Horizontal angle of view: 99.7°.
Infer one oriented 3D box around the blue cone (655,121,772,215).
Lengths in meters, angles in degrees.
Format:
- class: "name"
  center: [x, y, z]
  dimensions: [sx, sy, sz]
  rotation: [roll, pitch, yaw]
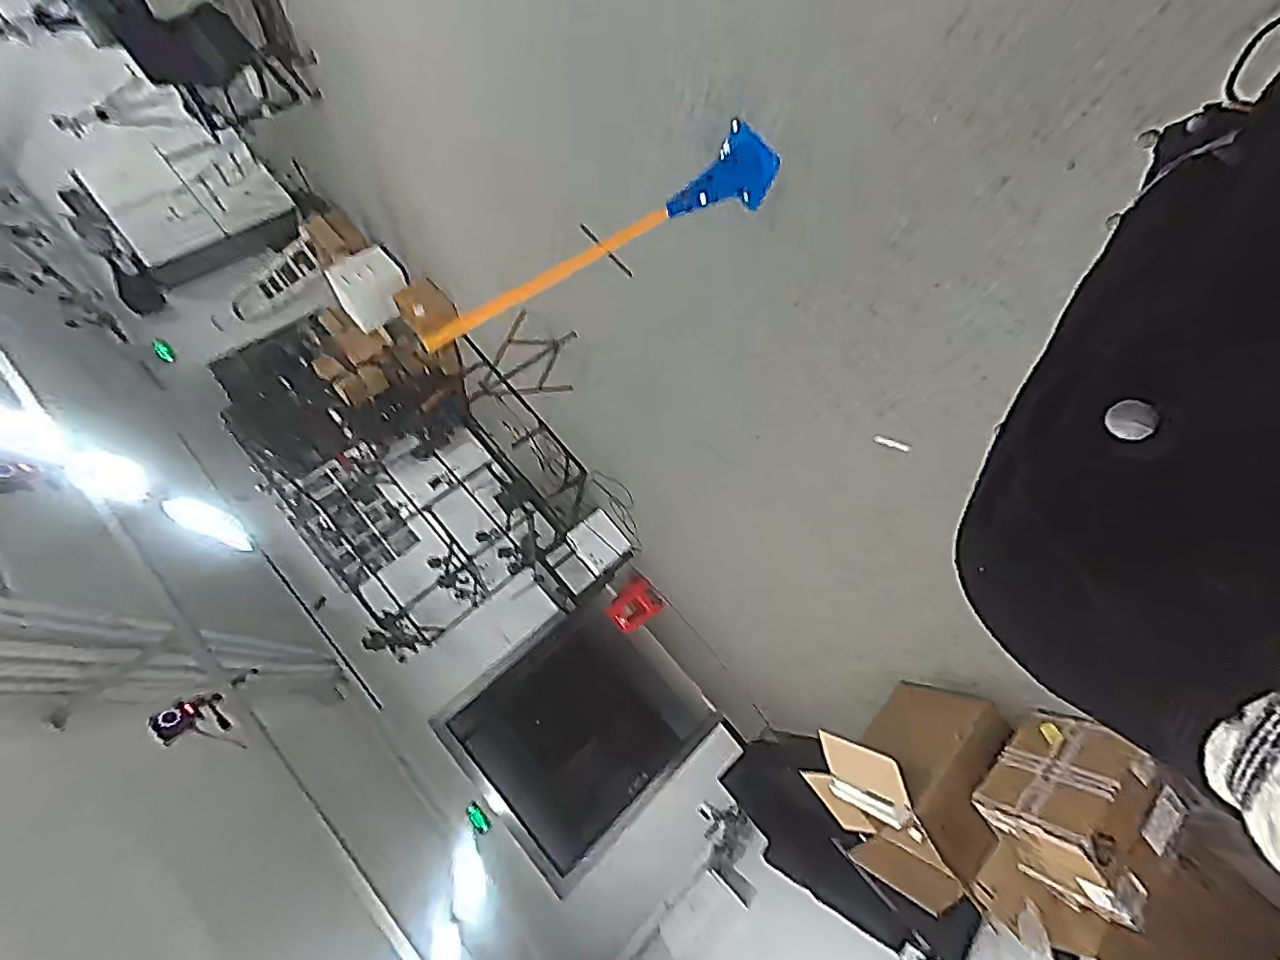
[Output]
- class: "blue cone"
  center: [0.199, -0.880, 1.619]
  dimensions: [0.192, 0.380, 0.193]
  rotation: [50, 159, 5]
